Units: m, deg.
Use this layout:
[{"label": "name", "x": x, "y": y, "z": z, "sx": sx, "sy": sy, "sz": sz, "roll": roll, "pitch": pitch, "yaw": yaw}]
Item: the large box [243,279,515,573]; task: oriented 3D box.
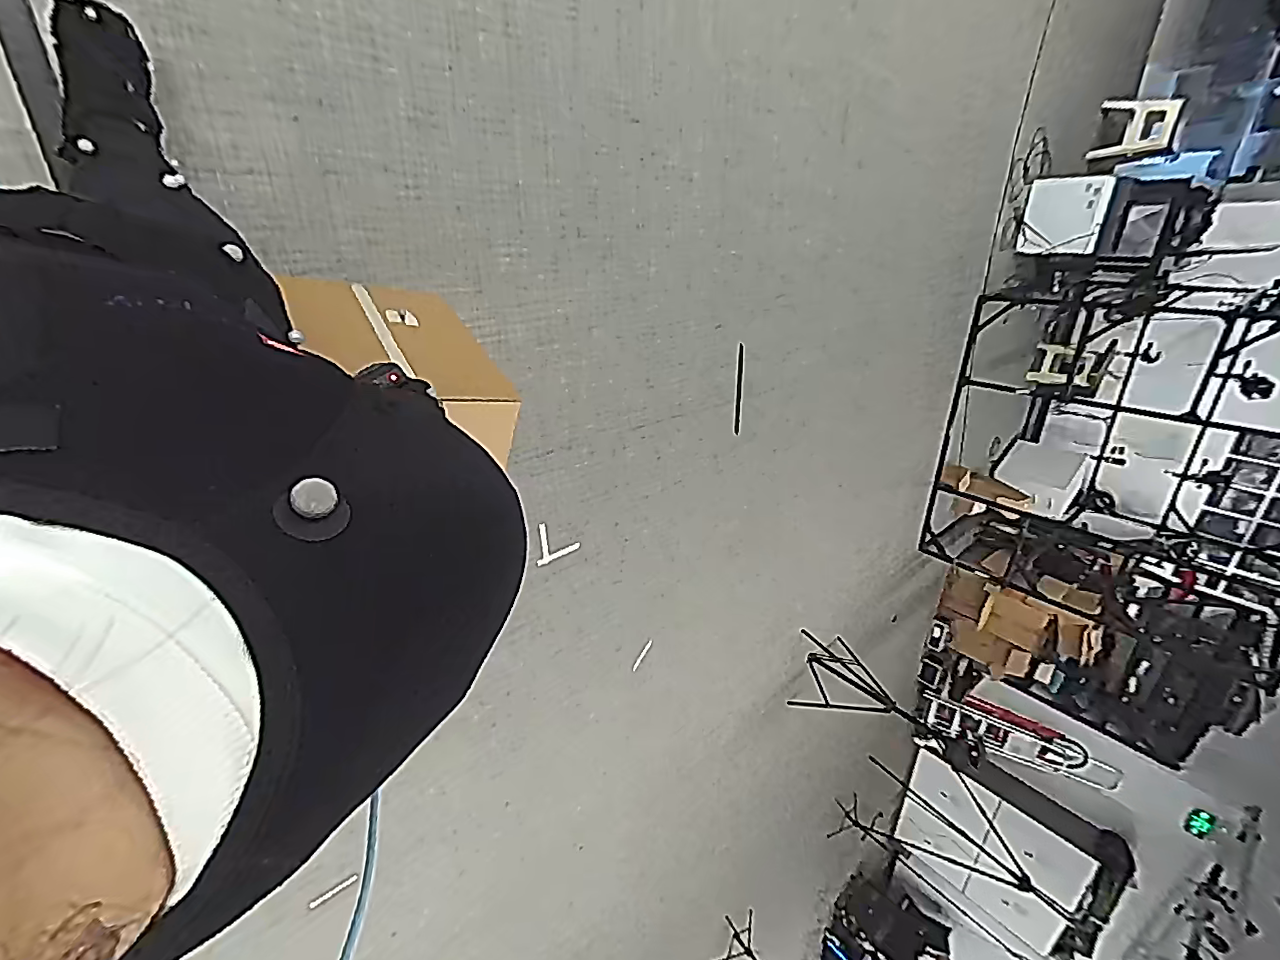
[{"label": "large box", "x": -0.462, "y": -0.106, "z": 0.930, "sx": 0.320, "sy": 0.408, "sz": 0.320, "roll": -6, "pitch": 129, "yaw": -40}]
